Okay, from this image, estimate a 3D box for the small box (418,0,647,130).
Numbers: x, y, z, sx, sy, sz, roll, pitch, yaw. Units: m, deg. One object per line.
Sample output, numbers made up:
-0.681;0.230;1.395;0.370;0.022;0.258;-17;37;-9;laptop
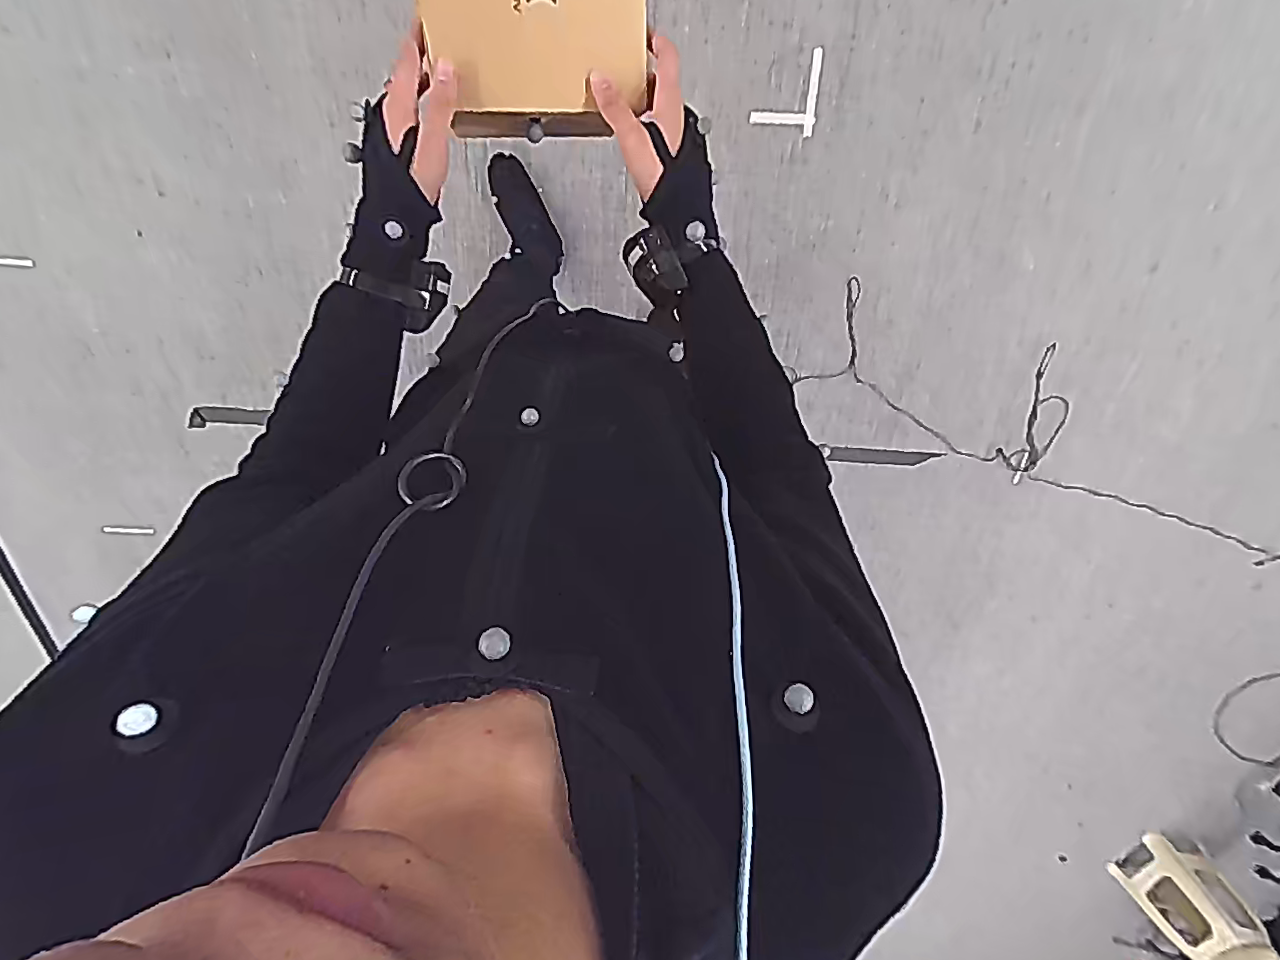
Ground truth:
-0.096;-0.417;0.477;0.179;0.176;0.168;-6;118;-9;small box
